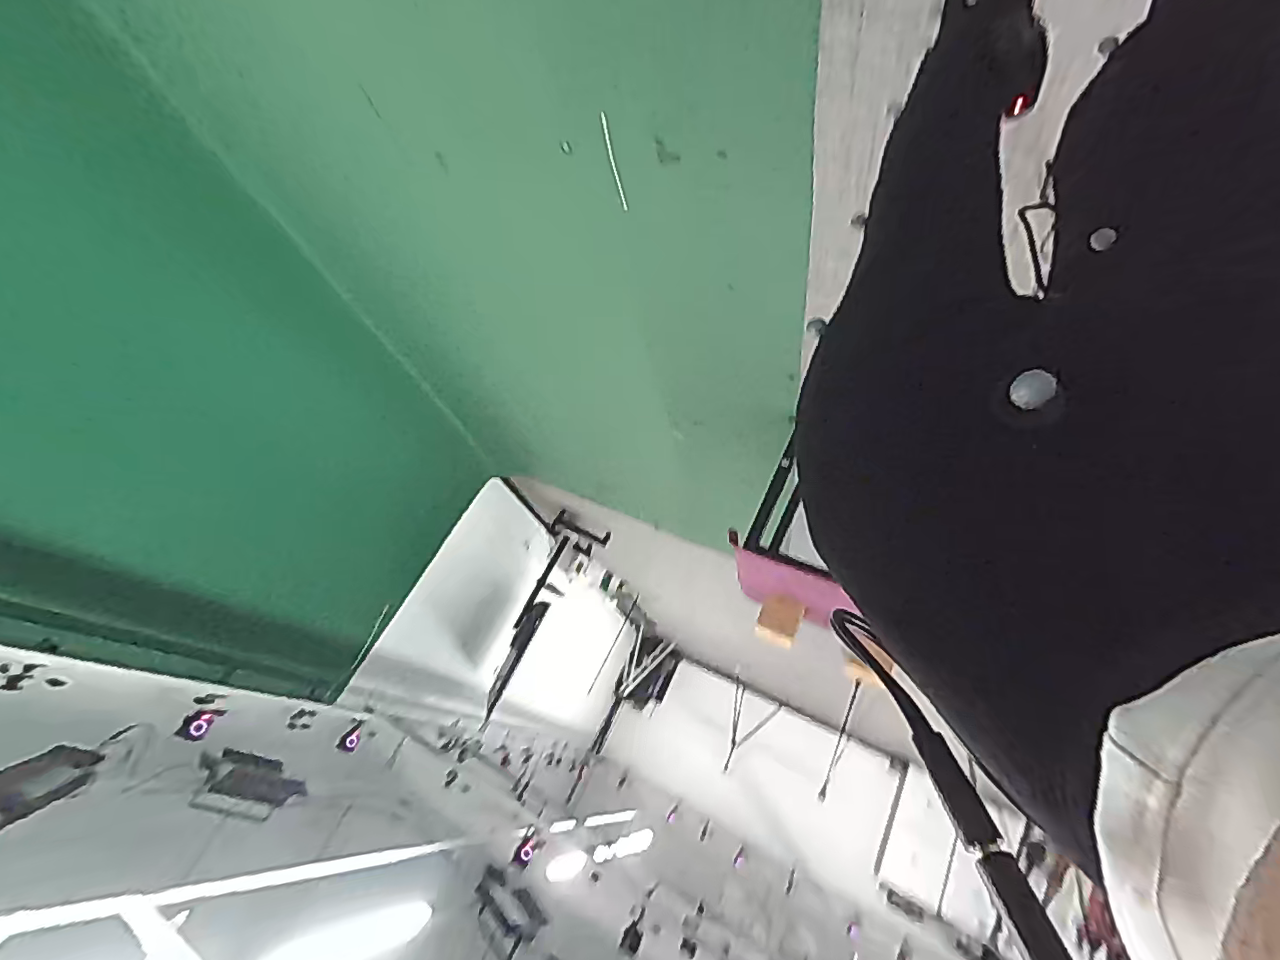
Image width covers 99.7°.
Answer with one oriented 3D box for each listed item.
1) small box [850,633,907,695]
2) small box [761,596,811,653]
[{"bbox_3d":[0.978,0.753,2.219,0.168,0.176,0.179,19,156,25],"label":"small box"},{"bbox_3d":[0.645,0.635,2.382,0.168,0.176,0.179,19,157,23],"label":"small box"}]
